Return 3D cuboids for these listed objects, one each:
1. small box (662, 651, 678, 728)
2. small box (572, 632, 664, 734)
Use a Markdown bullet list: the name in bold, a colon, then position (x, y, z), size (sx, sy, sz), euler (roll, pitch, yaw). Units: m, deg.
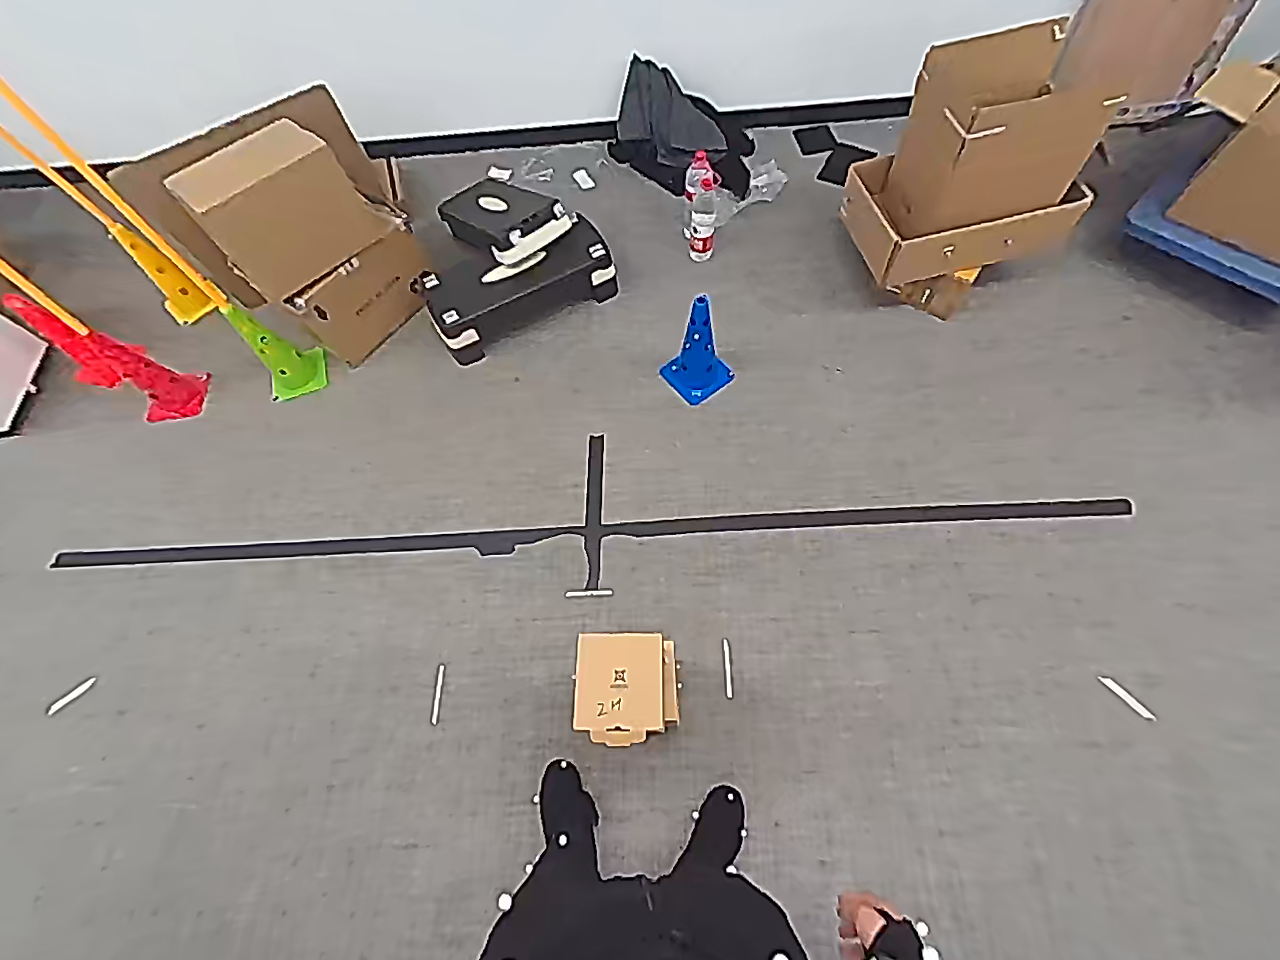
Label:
- **small box**: position (0.008, 0.542, 1.382), size (0.168, 0.176, 0.179), euler (-5, 64, 2)
- **small box**: position (-0.037, 0.409, 1.082), size (0.168, 0.176, 0.179), euler (0, 65, 3)
